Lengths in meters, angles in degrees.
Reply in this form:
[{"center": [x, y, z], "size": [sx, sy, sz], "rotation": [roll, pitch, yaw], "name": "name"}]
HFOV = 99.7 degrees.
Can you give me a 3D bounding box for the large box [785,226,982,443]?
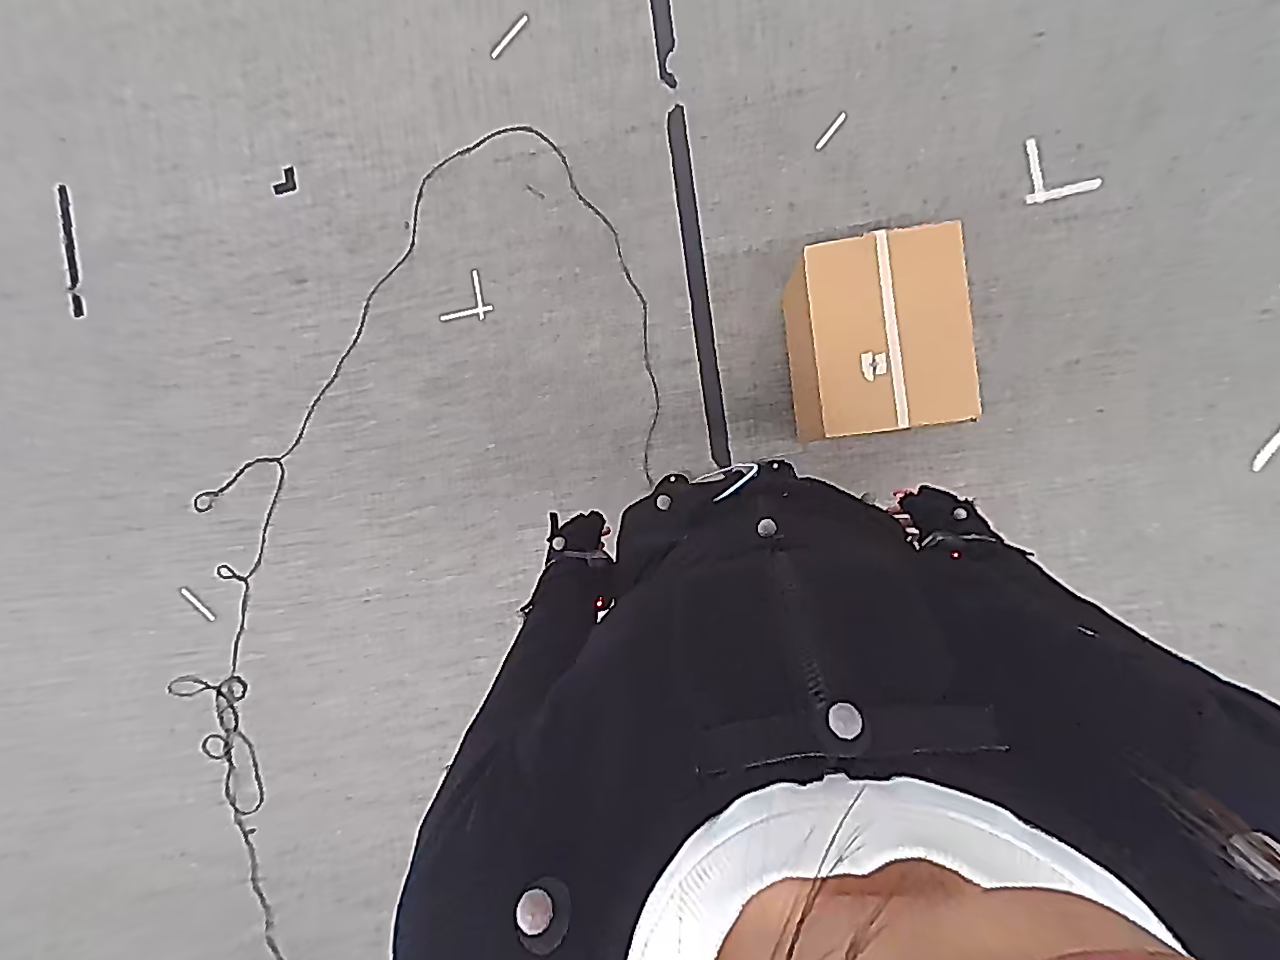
[{"center": [0.537, -0.308, 1.260], "size": [0.320, 0.320, 0.408], "rotation": [-7, 92, 8], "name": "large box"}]
